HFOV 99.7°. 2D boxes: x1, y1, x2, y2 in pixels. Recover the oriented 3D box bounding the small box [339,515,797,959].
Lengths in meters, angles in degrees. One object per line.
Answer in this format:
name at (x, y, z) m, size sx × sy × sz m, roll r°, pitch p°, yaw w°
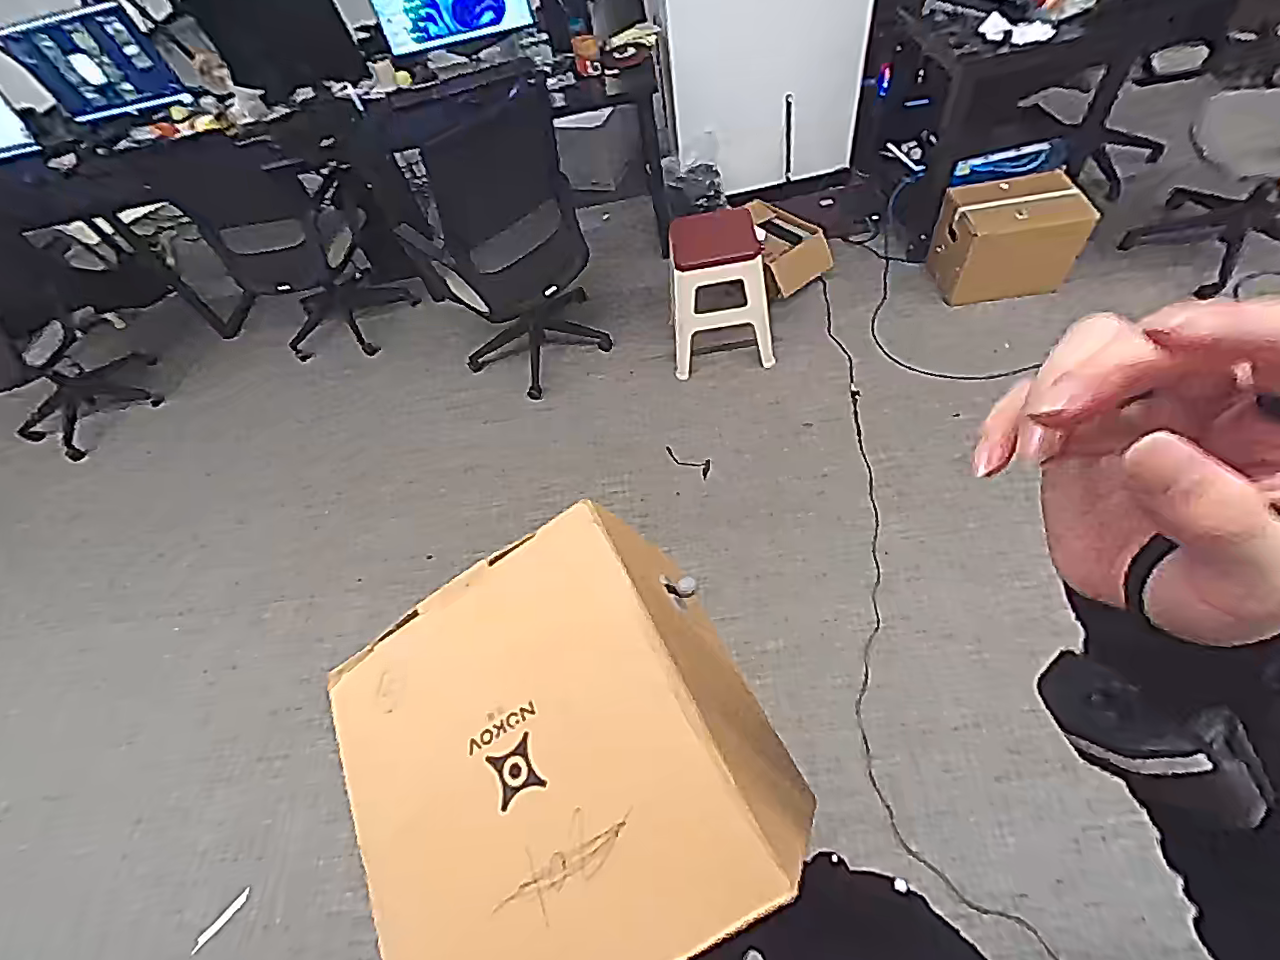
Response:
small box at (-0.029, 0.152, 0.312) m, size 0.168 × 0.176 × 0.179 m, roll -34°, pitch 63°, yaw 6°
